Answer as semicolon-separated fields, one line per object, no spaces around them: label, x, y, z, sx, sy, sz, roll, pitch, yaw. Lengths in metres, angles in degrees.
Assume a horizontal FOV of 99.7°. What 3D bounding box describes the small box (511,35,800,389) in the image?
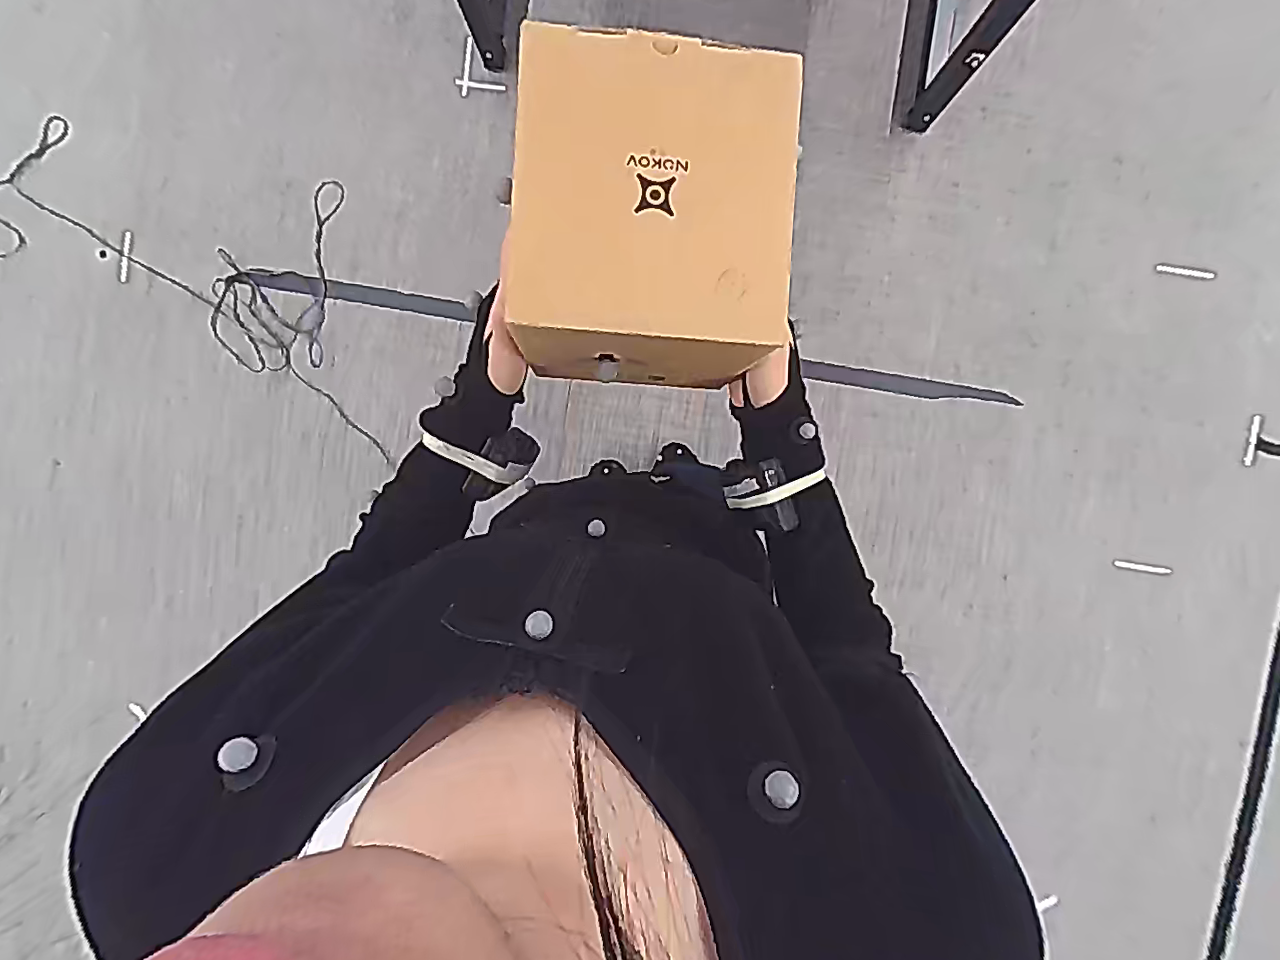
small box;0.005;-0.169;0.400;0.168;0.176;0.179;3;89;-5
